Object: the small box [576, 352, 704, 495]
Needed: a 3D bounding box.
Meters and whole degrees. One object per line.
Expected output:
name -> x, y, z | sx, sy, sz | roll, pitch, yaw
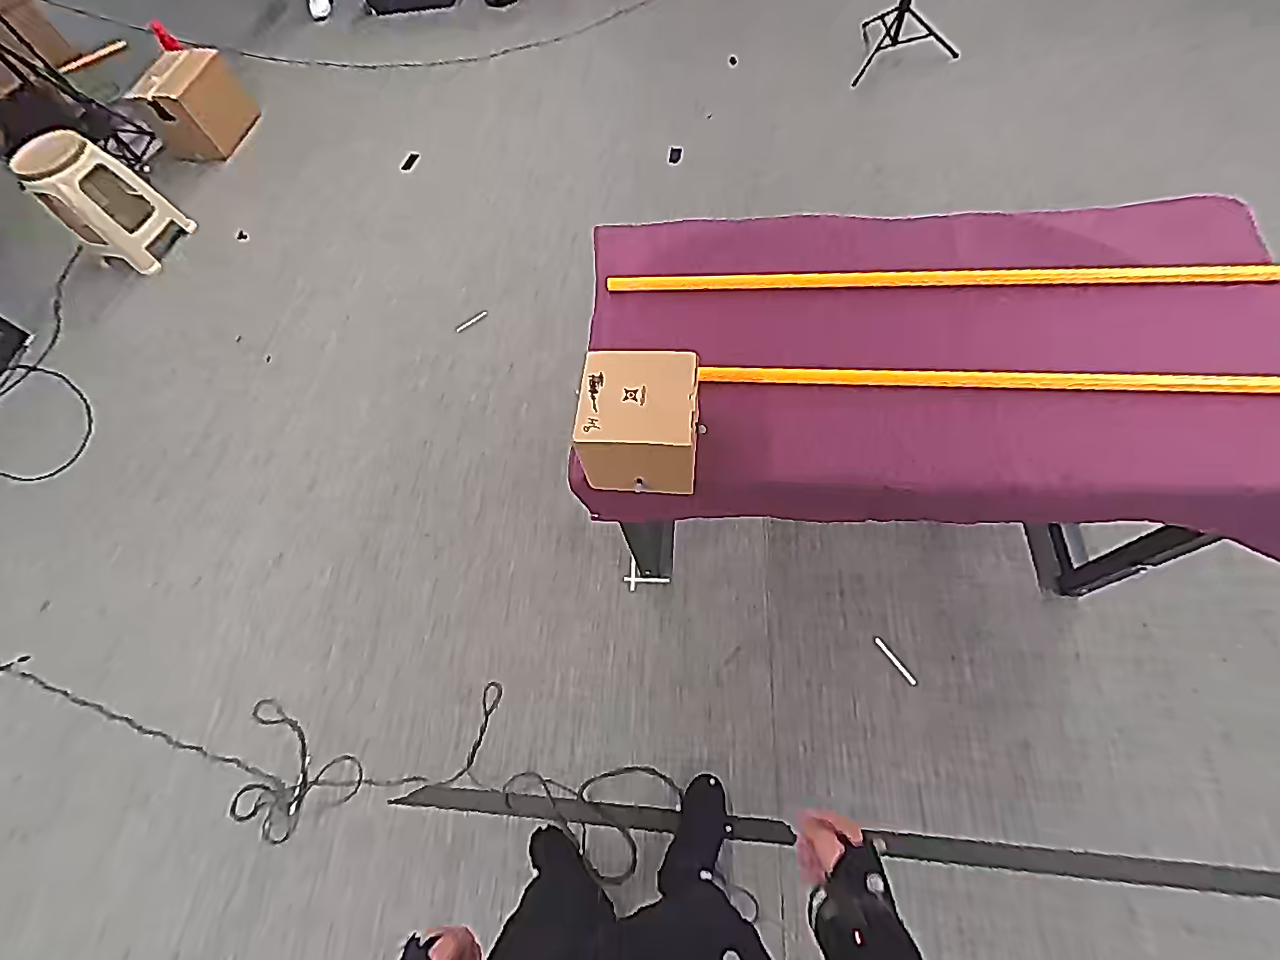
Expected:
small box -> 0.008, -0.085, 0.871 | 0.179, 0.176, 0.168 | 4, 65, 7
